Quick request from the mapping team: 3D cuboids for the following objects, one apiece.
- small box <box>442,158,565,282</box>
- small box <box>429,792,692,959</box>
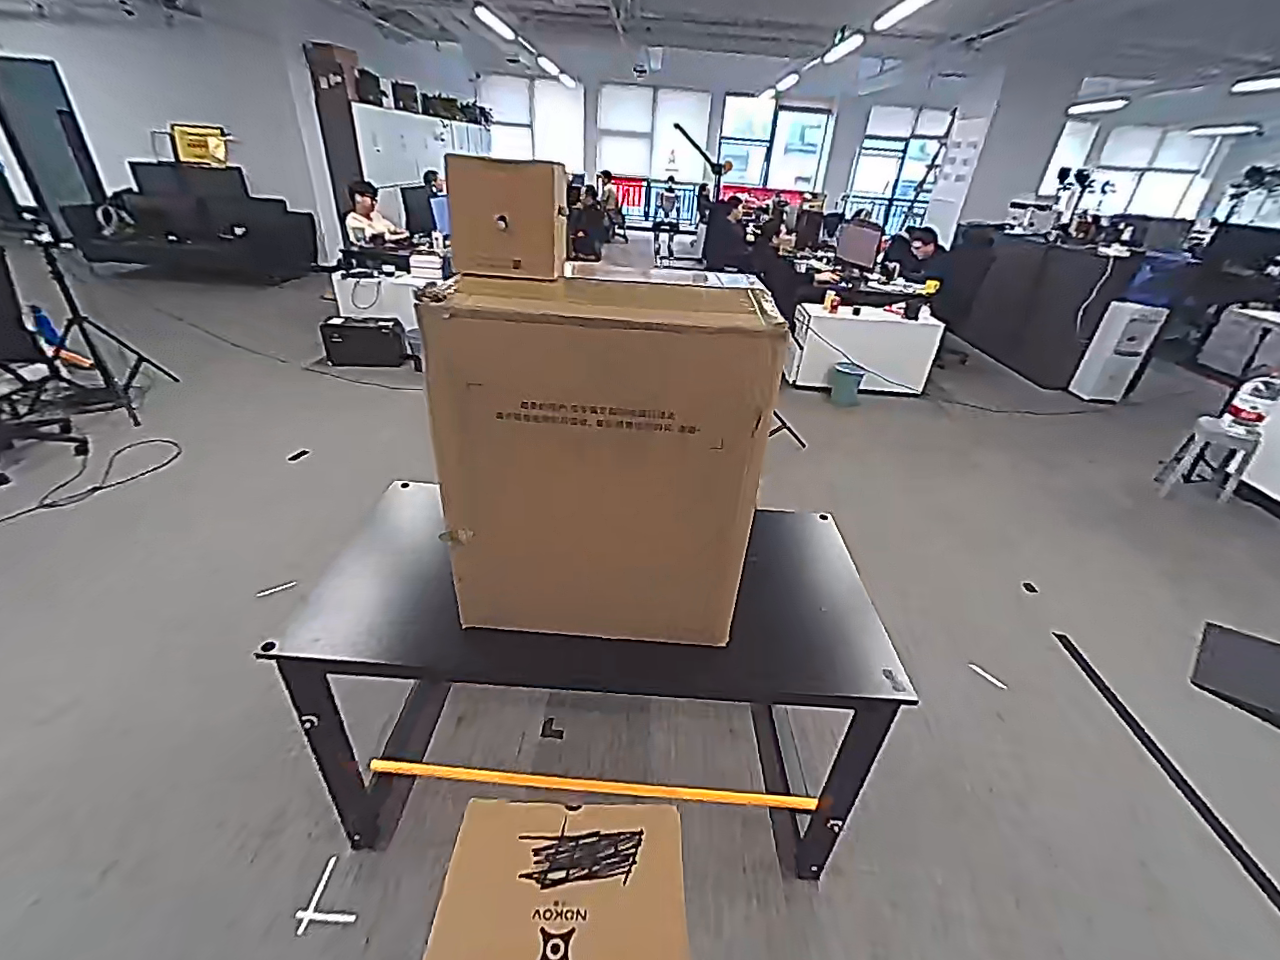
[{"bbox_3d":[-0.216,-0.434,0.902,0.168,0.176,0.179,3,30,-4],"label":"small box"},{"bbox_3d":[-0.053,0.362,0.388,0.168,0.176,0.179,2,25,-1],"label":"small box"}]
